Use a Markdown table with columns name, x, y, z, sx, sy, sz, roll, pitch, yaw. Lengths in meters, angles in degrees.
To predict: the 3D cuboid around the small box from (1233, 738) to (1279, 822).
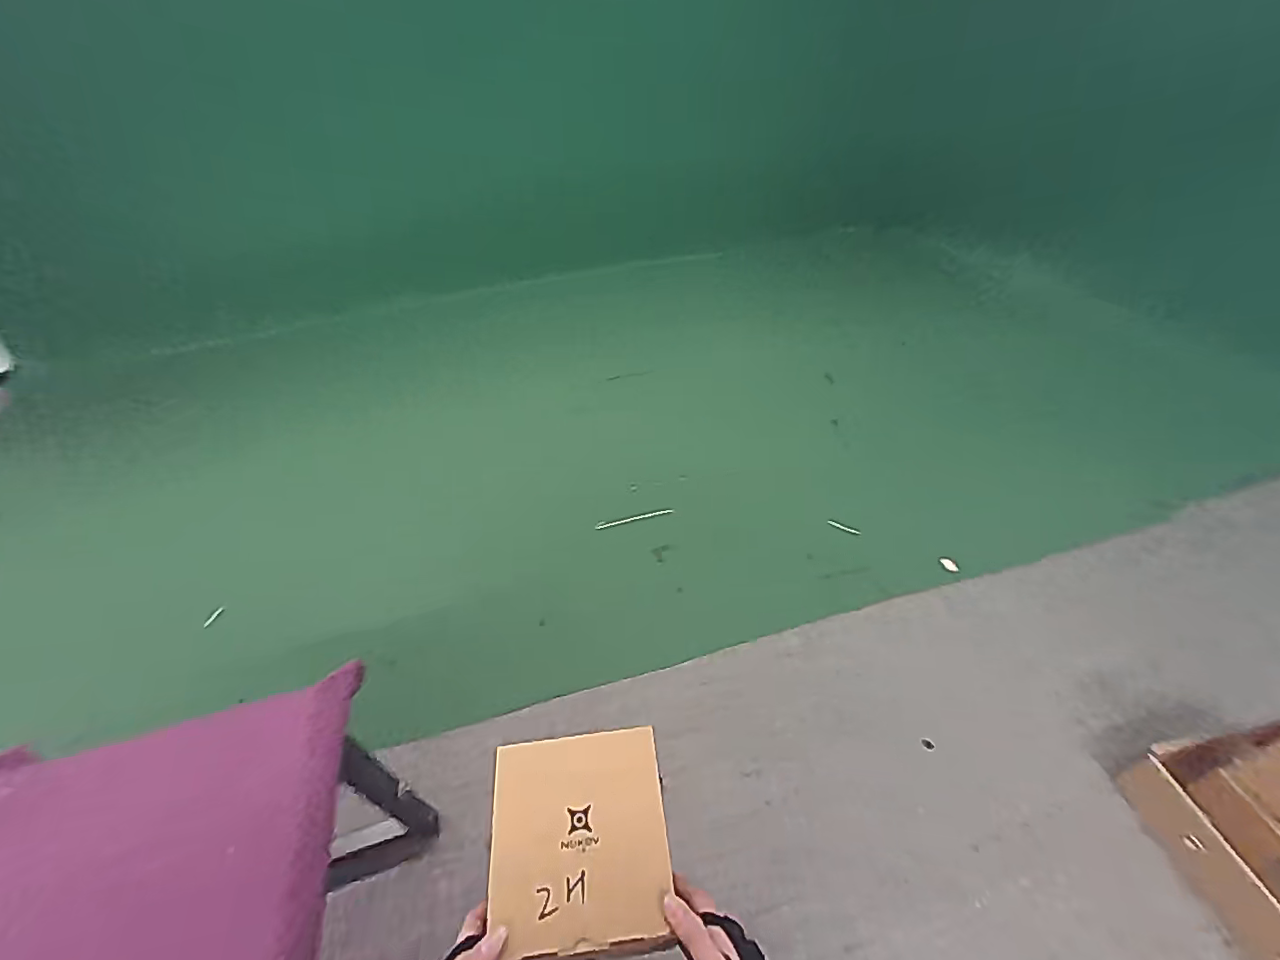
| name | x | y | z | sx | sy | sz | roll | pitch | yaw |
| --- | --- | --- | --- | --- | --- | --- | --- | --- | --- |
| small box | 1.416 | 0.622 | 1.115 | 0.179 | 0.176 | 0.168 | -12 | 43 | -8 |

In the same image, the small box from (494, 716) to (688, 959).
| name | x | y | z | sx | sy | sz | roll | pitch | yaw |
| --- | --- | --- | --- | --- | --- | --- | --- | --- | --- |
| small box | -0.046 | 0.373 | 0.566 | 0.168 | 0.176 | 0.179 | -5 | 46 | -3 |
